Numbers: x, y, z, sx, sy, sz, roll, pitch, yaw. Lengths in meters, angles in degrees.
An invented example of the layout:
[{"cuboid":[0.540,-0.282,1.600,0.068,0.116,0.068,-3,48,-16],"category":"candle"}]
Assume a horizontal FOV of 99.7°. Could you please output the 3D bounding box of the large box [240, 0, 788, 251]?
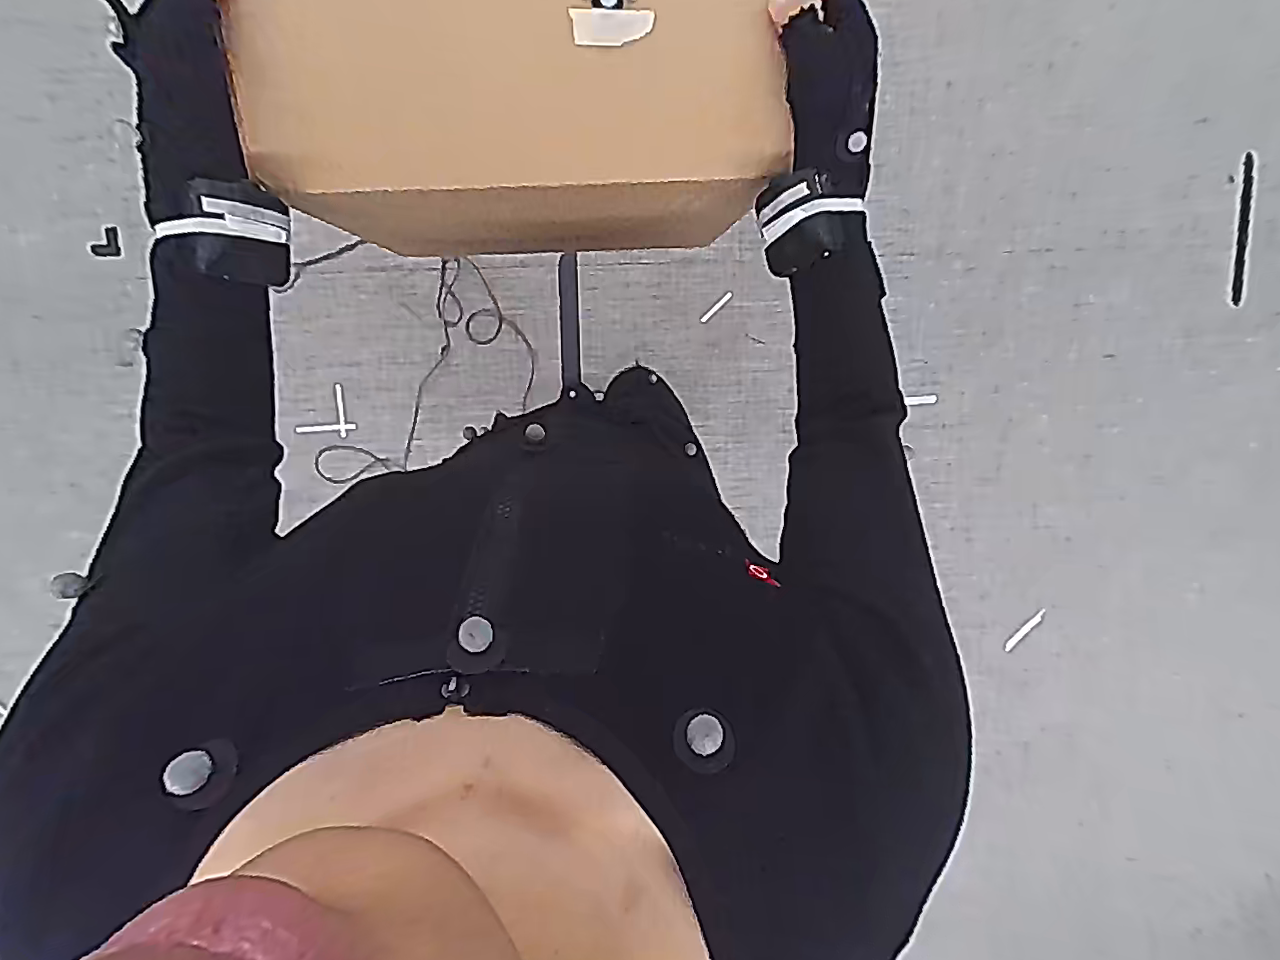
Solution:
[{"cuboid":[-0.102,-0.422,0.530,0.408,0.320,0.320,-4,106,-5],"category":"large box"}]
